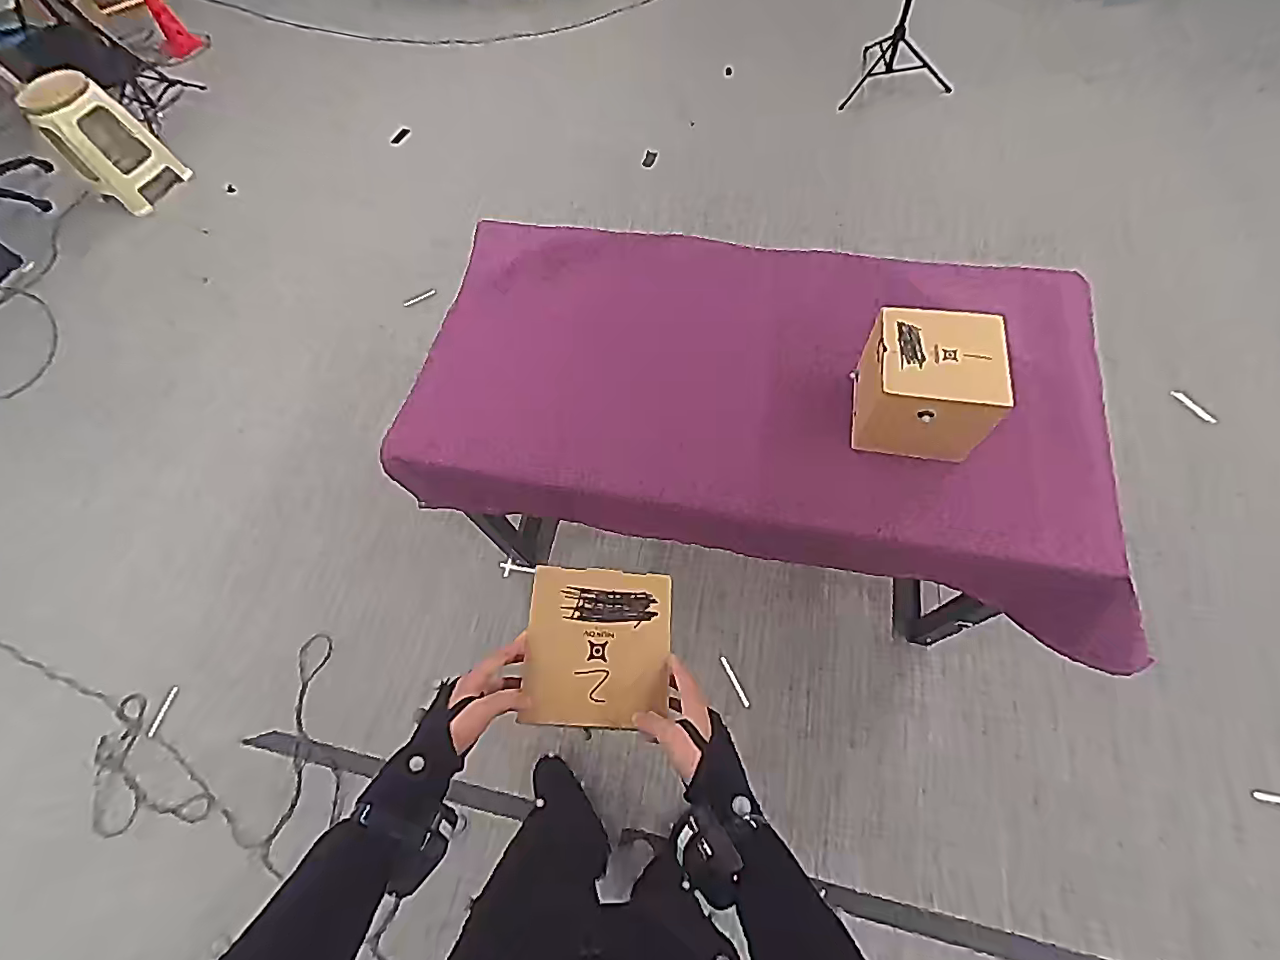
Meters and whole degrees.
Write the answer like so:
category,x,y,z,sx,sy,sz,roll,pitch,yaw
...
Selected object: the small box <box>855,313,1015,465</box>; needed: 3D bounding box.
category,x,y,z,sx,sy,sz,roll,pitch,yaw
small box,0.452,-0.139,0.857,0.179,0.176,0.168,8,65,9
